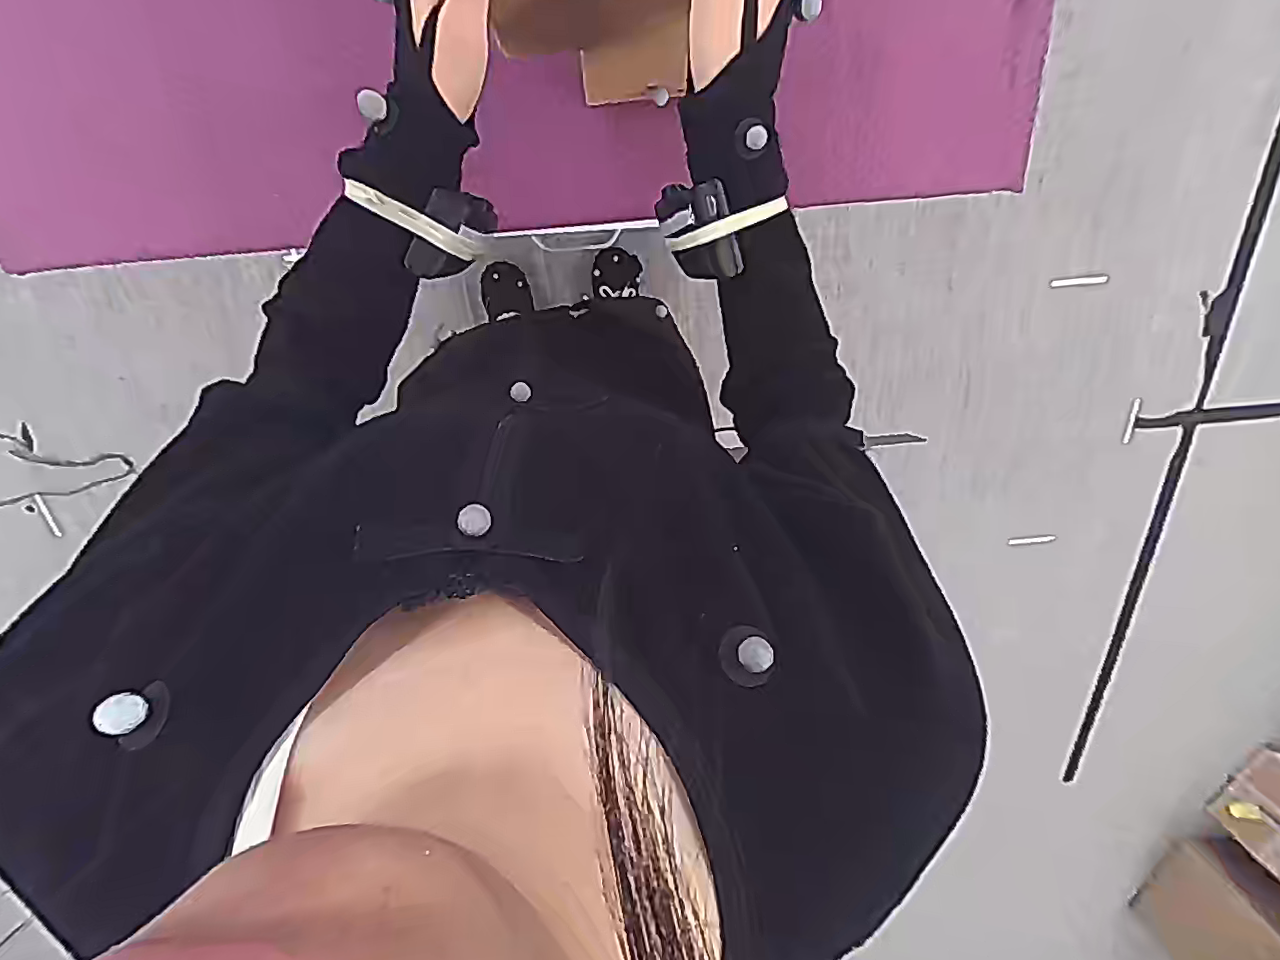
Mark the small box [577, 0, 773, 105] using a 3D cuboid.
[{"bbox_3d":[0.018,-0.471,0.492,0.168,0.176,0.179,-6,113,-1],"label":"small box"}]

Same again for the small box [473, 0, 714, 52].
[{"bbox_3d":[-0.032,-0.398,0.331,0.179,0.176,0.168,-5,108,2],"label":"small box"}]
